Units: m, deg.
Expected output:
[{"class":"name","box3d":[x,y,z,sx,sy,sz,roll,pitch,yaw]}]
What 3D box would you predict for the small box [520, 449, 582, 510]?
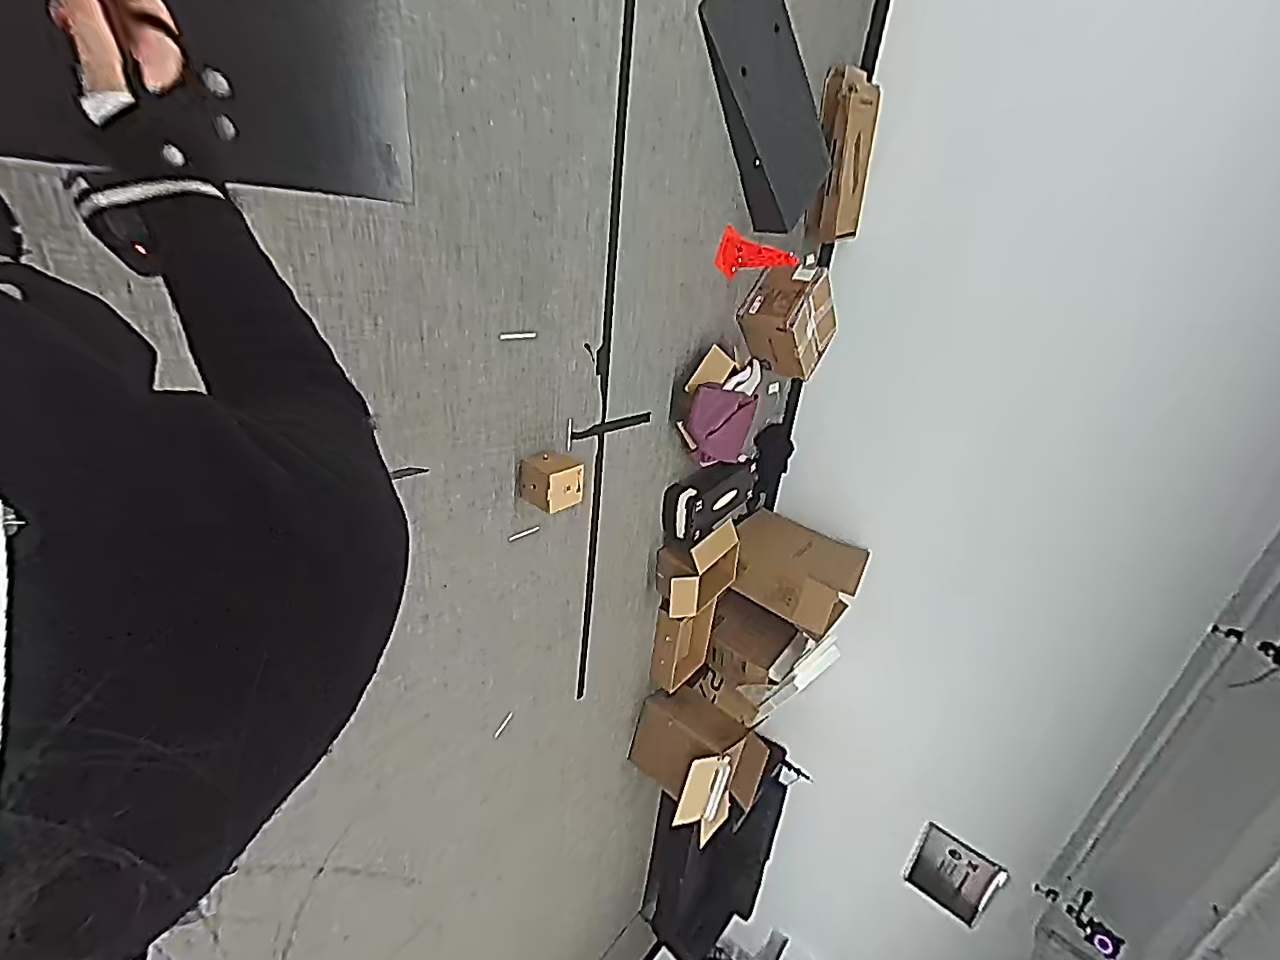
[{"class":"small box","box3d":[-0.349,-0.006,2.100,0.179,0.176,0.168,-21,126,-46]}]
